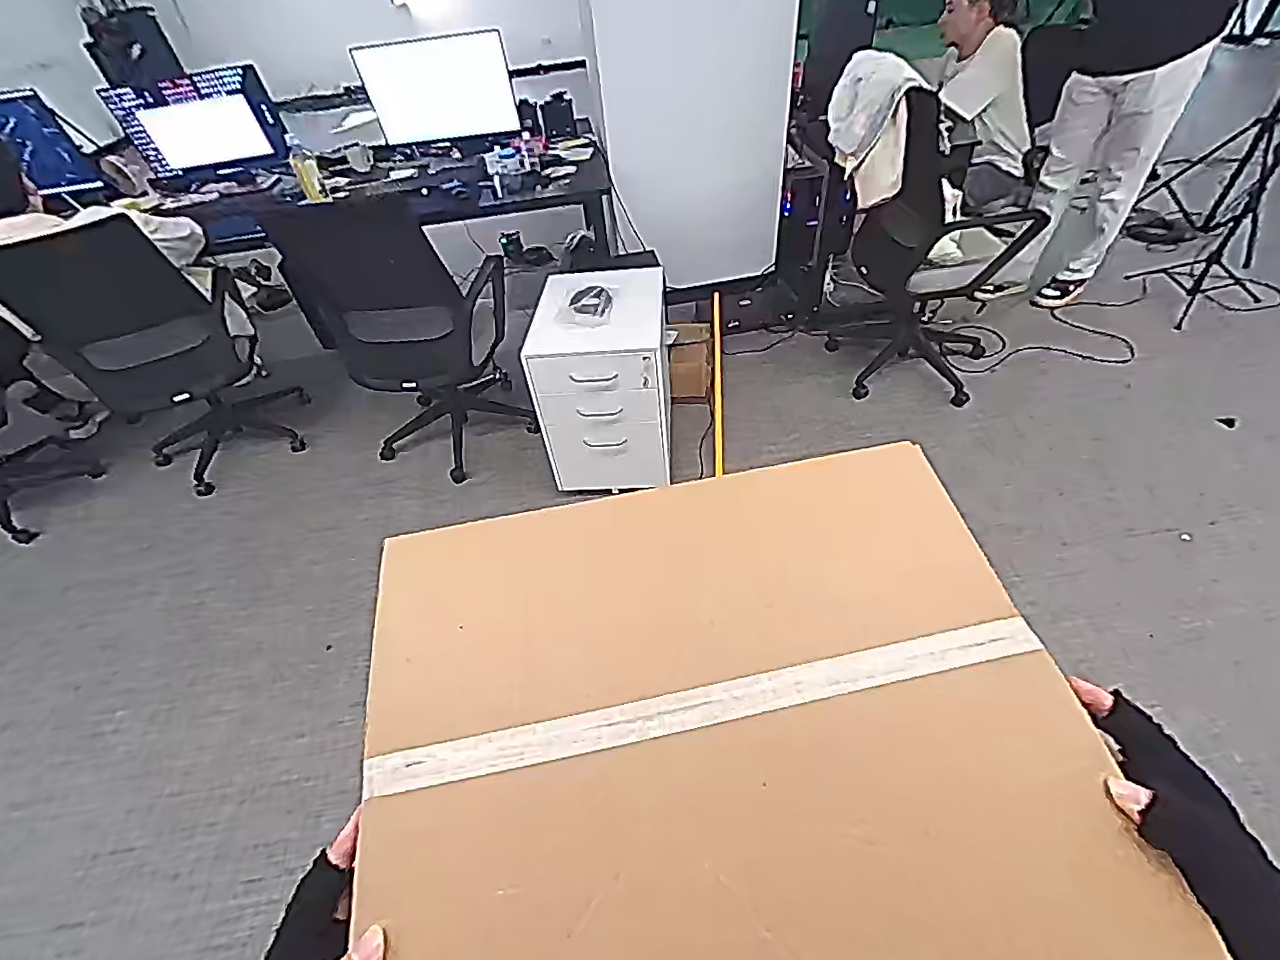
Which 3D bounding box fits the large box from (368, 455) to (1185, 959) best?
[{"bbox_3d":[0.052,0.223,0.451,0.408,0.320,0.320,-11,56,-3],"label":"large box"}]
